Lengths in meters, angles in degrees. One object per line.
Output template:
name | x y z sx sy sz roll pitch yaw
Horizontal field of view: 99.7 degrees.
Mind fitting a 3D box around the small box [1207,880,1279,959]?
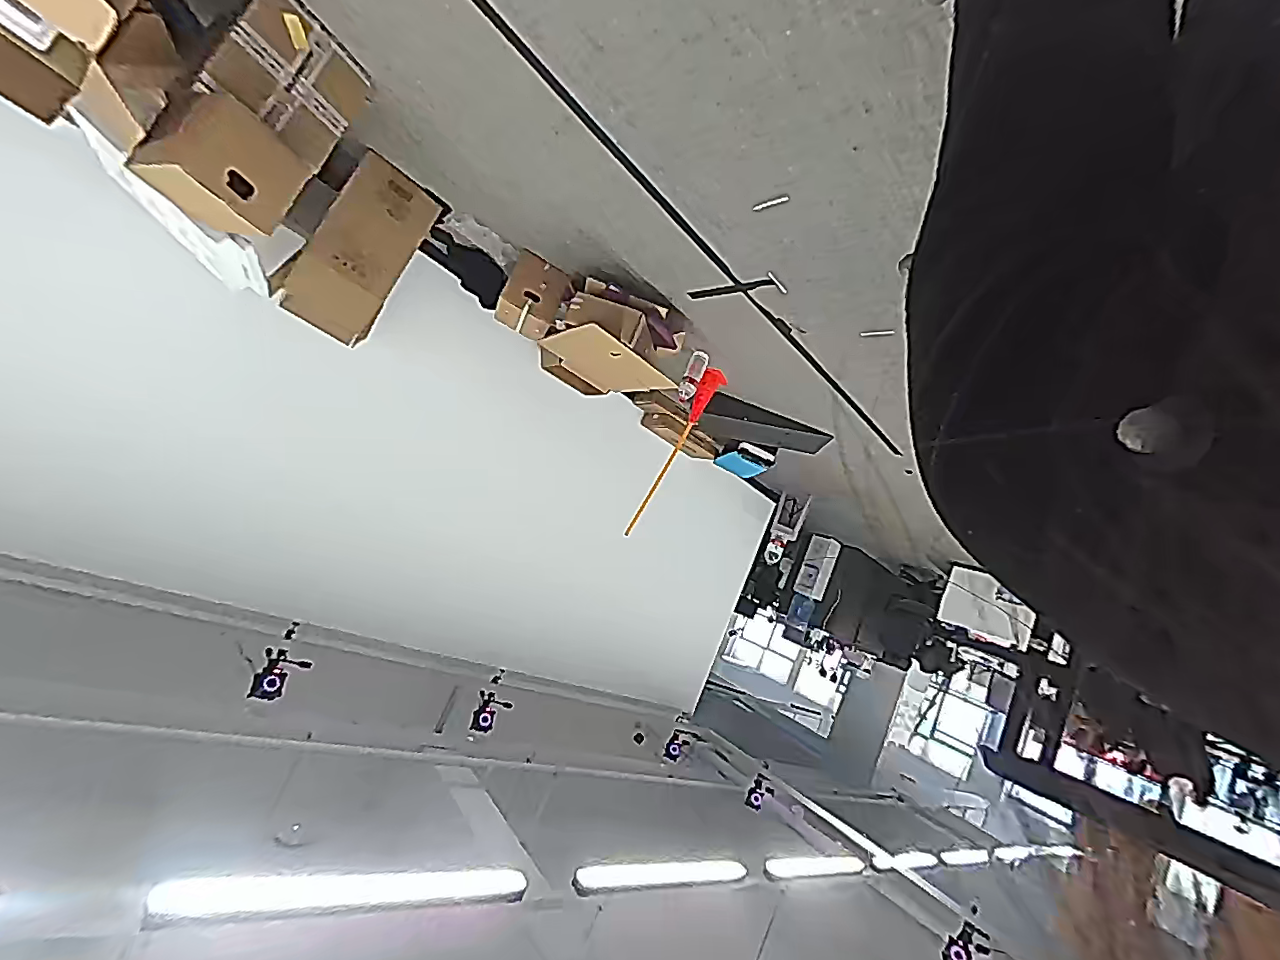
small box | 1.490 1.097 1.291 0.179 0.176 0.168 27 171 -38

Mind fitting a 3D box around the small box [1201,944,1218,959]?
small box | 1.428 1.246 1.272 0.179 0.176 0.168 29 169 -39

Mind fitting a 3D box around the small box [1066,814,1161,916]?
small box | 1.321 1.059 1.505 0.179 0.176 0.168 30 168 -39

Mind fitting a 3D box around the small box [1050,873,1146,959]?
small box | 1.258 1.208 1.483 0.179 0.176 0.168 30 169 -40
